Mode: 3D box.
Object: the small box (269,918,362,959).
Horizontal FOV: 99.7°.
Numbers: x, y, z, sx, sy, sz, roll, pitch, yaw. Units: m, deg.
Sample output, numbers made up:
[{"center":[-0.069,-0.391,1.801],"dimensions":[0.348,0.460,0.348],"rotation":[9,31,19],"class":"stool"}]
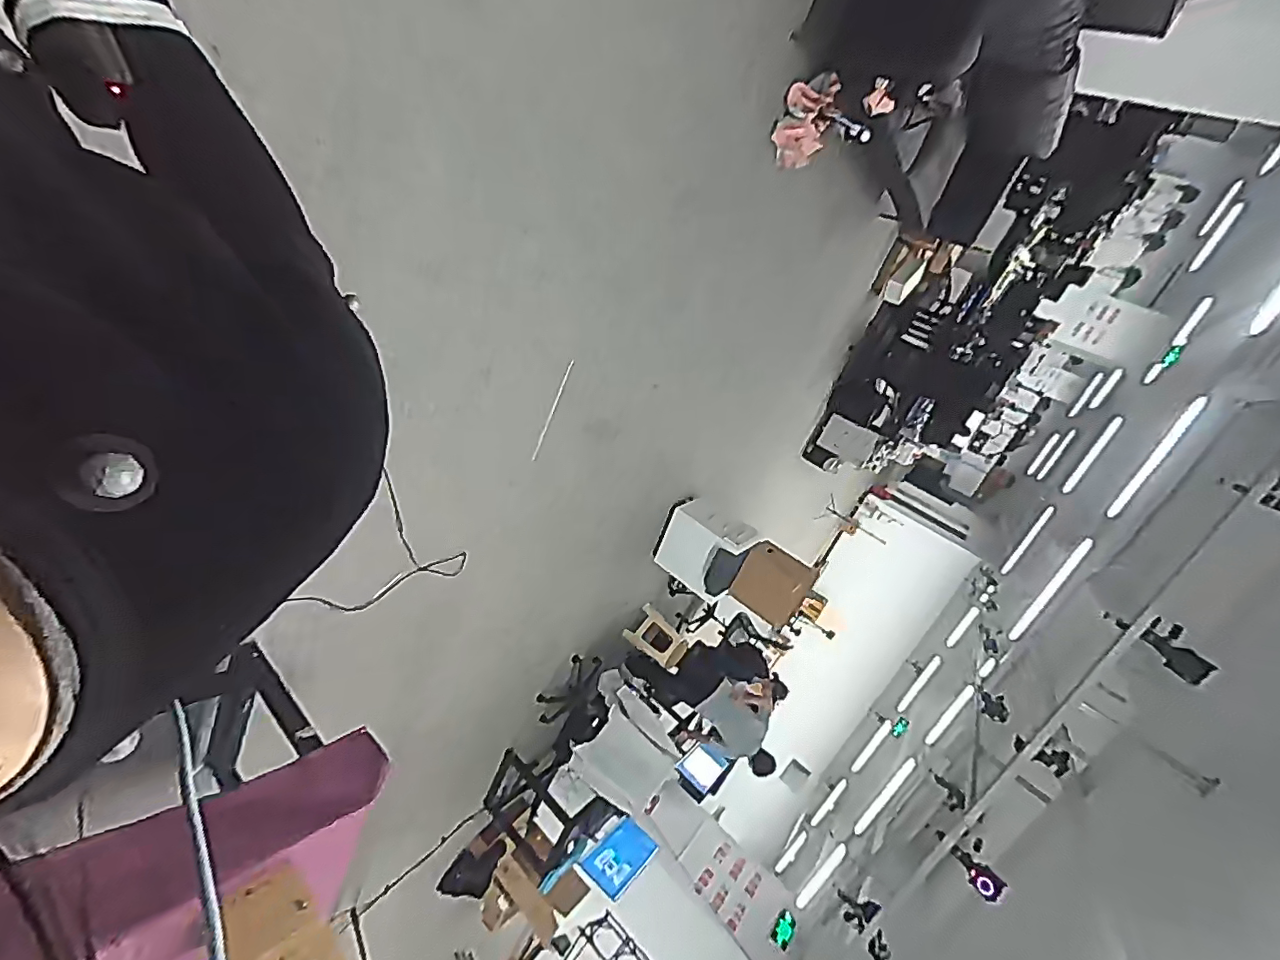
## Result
[{"center":[-0.754,1.155,1.227],"dimensions":[0.168,0.176,0.179],"rotation":[-9,130,-54],"class":"small box"}]
